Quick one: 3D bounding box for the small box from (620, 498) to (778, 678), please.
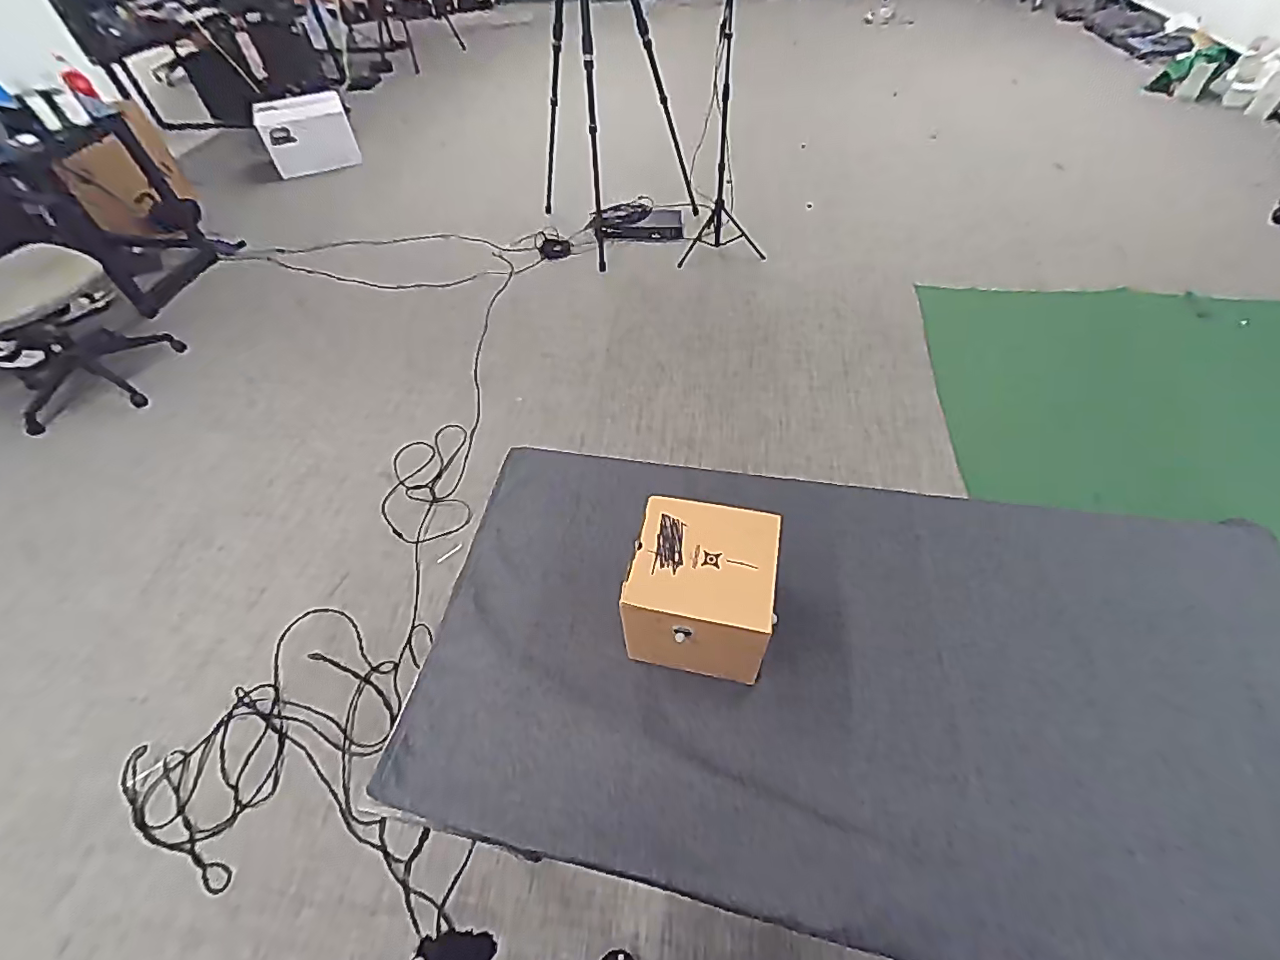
[{"bbox_3d":[0.081,0.149,0.734,0.179,0.176,0.168,9,51,10],"label":"small box"}]
